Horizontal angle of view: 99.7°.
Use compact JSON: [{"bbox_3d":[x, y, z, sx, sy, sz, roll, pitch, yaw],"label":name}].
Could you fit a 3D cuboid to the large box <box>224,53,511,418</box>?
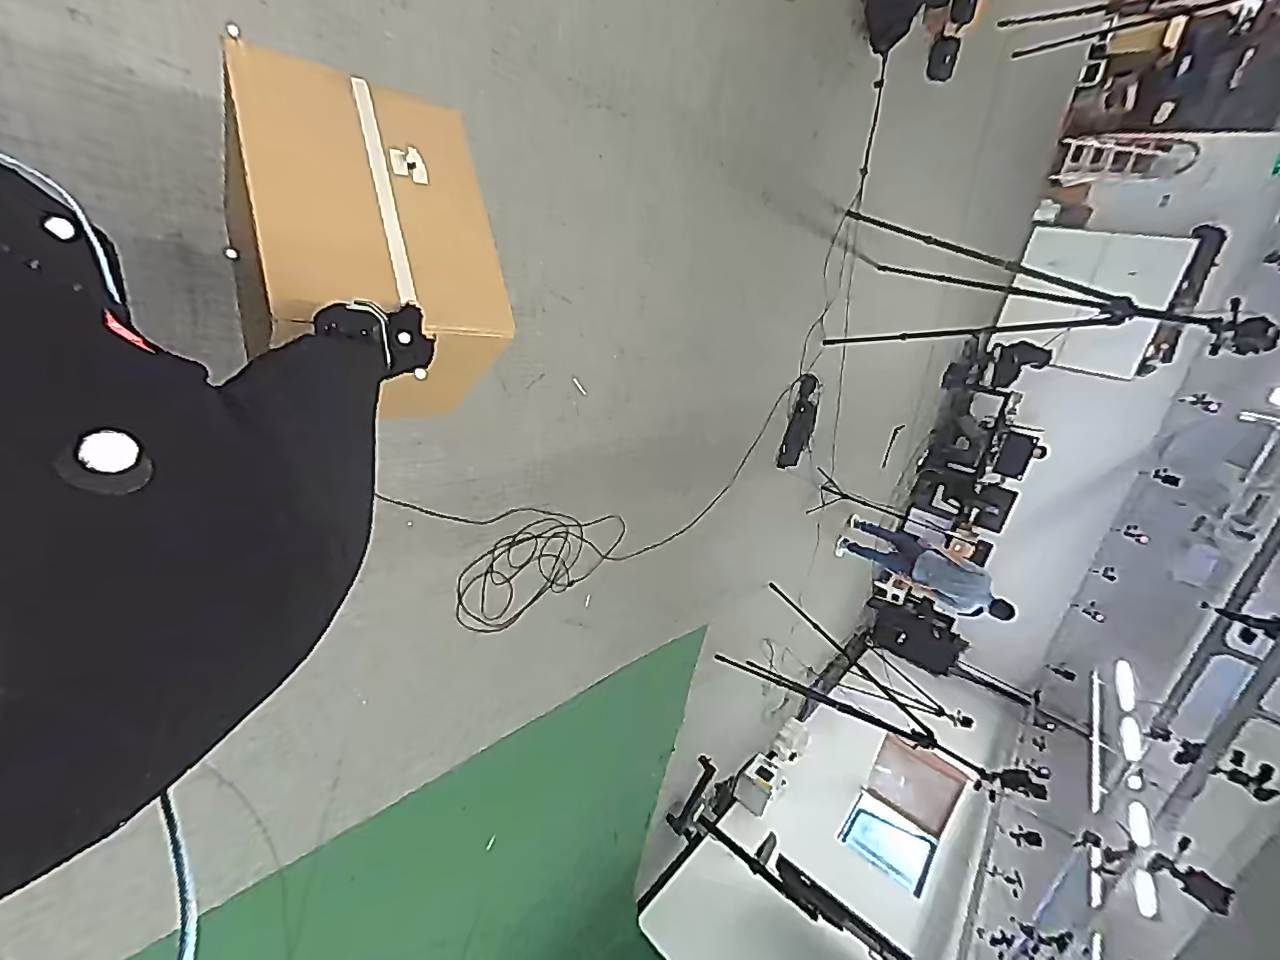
[{"bbox_3d":[-0.454,-0.348,0.883,0.320,0.320,0.408,-8,78,-39],"label":"large box"}]
